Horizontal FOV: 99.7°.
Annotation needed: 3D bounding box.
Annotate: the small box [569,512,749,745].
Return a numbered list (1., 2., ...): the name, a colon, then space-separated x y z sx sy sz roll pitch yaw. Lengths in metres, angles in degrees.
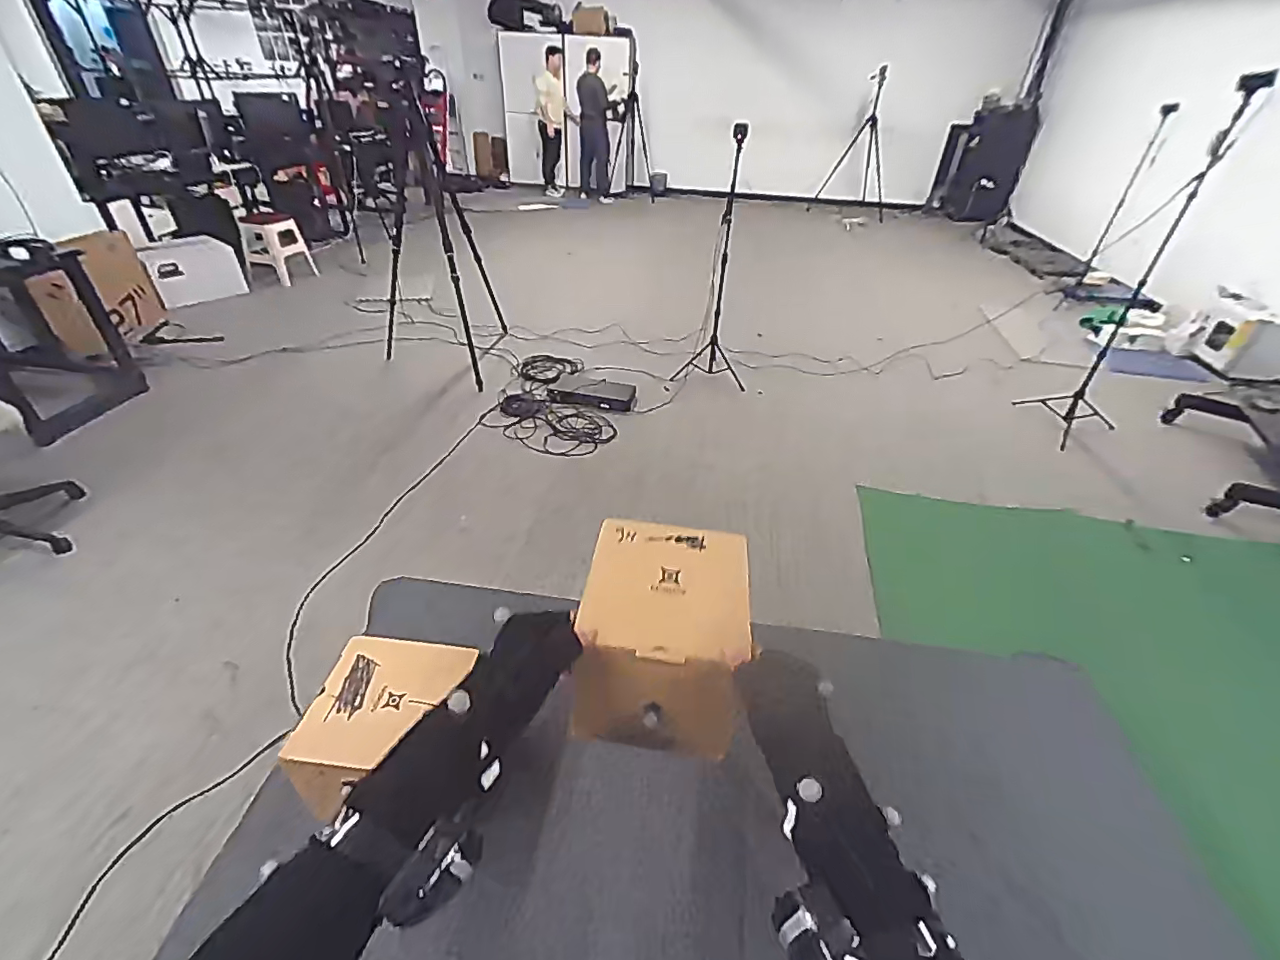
1. small box: 0.024 0.162 0.594 0.168 0.176 0.179 7 38 4

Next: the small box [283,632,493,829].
1. small box: -0.305 0.323 0.700 0.179 0.176 0.168 7 38 2
